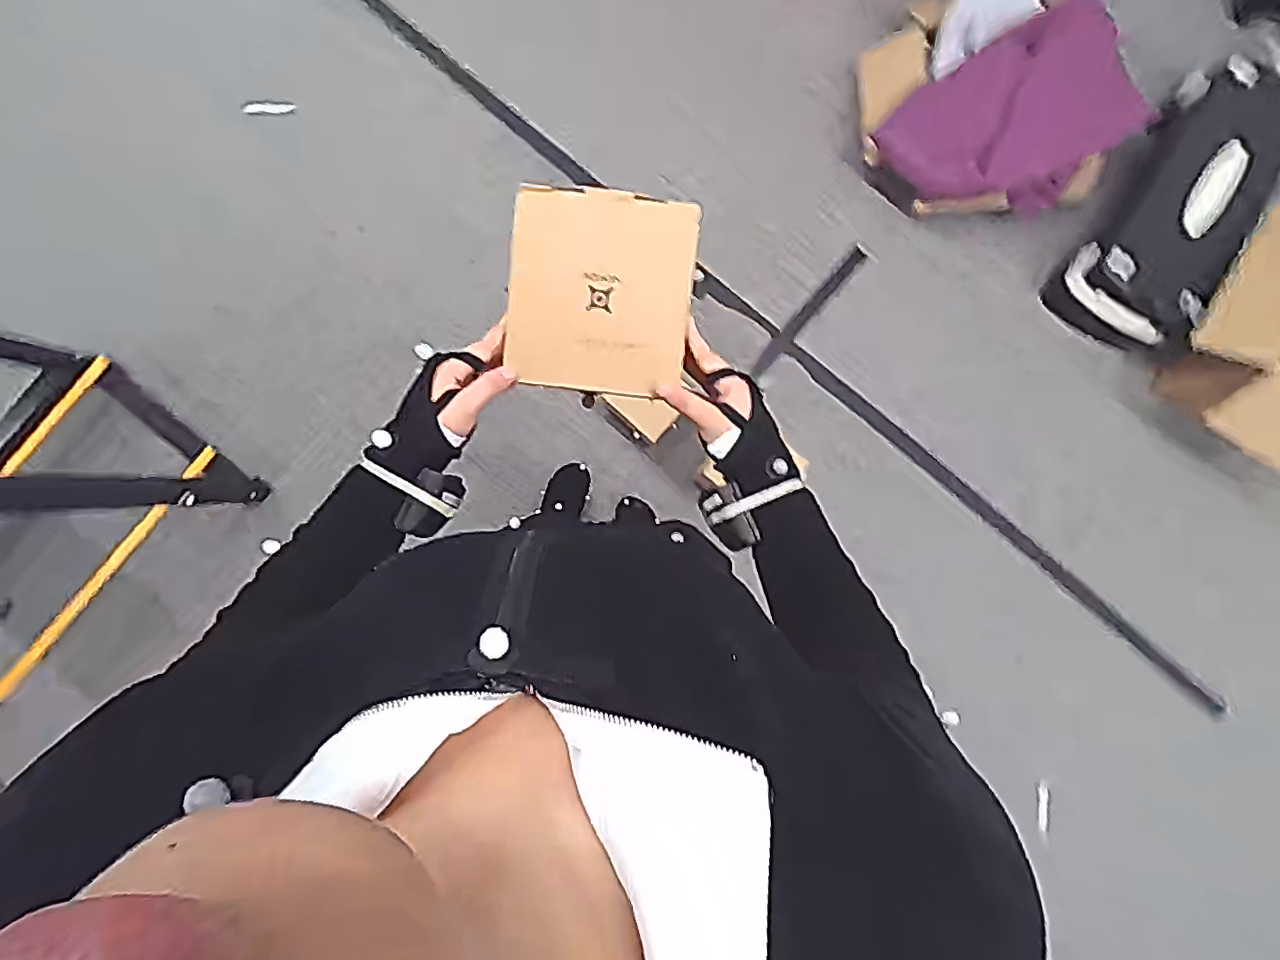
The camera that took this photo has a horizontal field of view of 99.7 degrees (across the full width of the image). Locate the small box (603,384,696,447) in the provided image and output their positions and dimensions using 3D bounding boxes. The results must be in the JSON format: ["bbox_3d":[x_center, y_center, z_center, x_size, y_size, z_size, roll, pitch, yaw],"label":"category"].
[{"bbox_3d":[0.024,-0.201,1.427,0.179,0.176,0.168,42,89,1],"label":"small box"}]

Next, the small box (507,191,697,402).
[{"bbox_3d":[-0.037,-0.178,0.577,0.168,0.176,0.179,5,99,-1],"label":"small box"}]

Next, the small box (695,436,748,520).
[{"bbox_3d":[0.258,-0.015,1.428,0.168,0.176,0.179,38,90,0],"label":"small box"}]

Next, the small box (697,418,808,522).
[{"bbox_3d":[0.251,-0.019,1.262,0.179,0.176,0.168,39,89,-1],"label":"small box"}]
